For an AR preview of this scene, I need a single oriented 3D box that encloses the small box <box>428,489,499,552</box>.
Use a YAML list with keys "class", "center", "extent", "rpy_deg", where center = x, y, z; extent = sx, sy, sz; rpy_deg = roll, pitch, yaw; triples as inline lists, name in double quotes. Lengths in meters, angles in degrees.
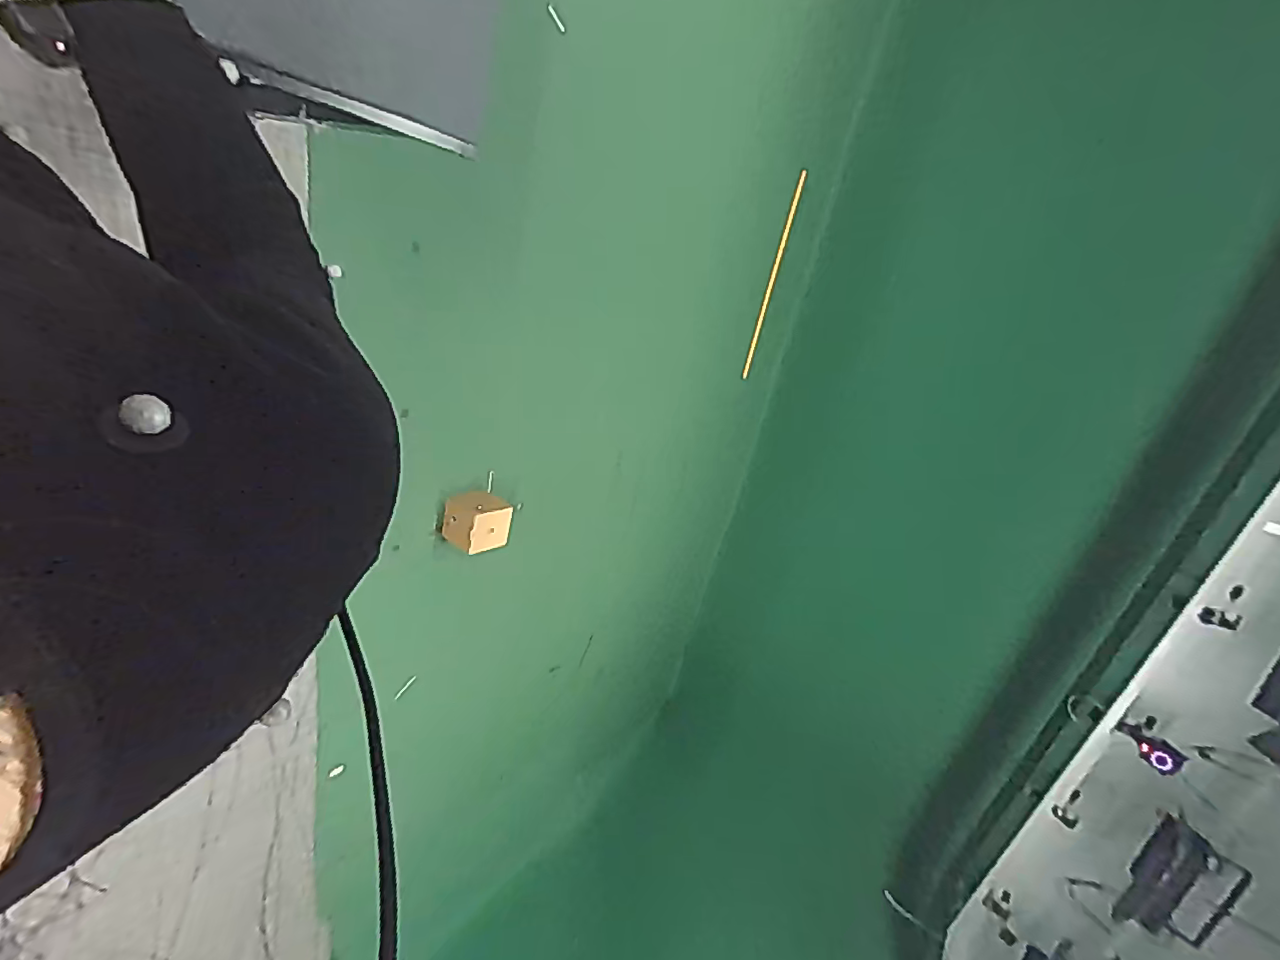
- class: "small box"
  center: [-0.663, 0.145, 2.033]
  extent: [0.179, 0.176, 0.168]
  rpy_deg: [-13, 125, -54]
